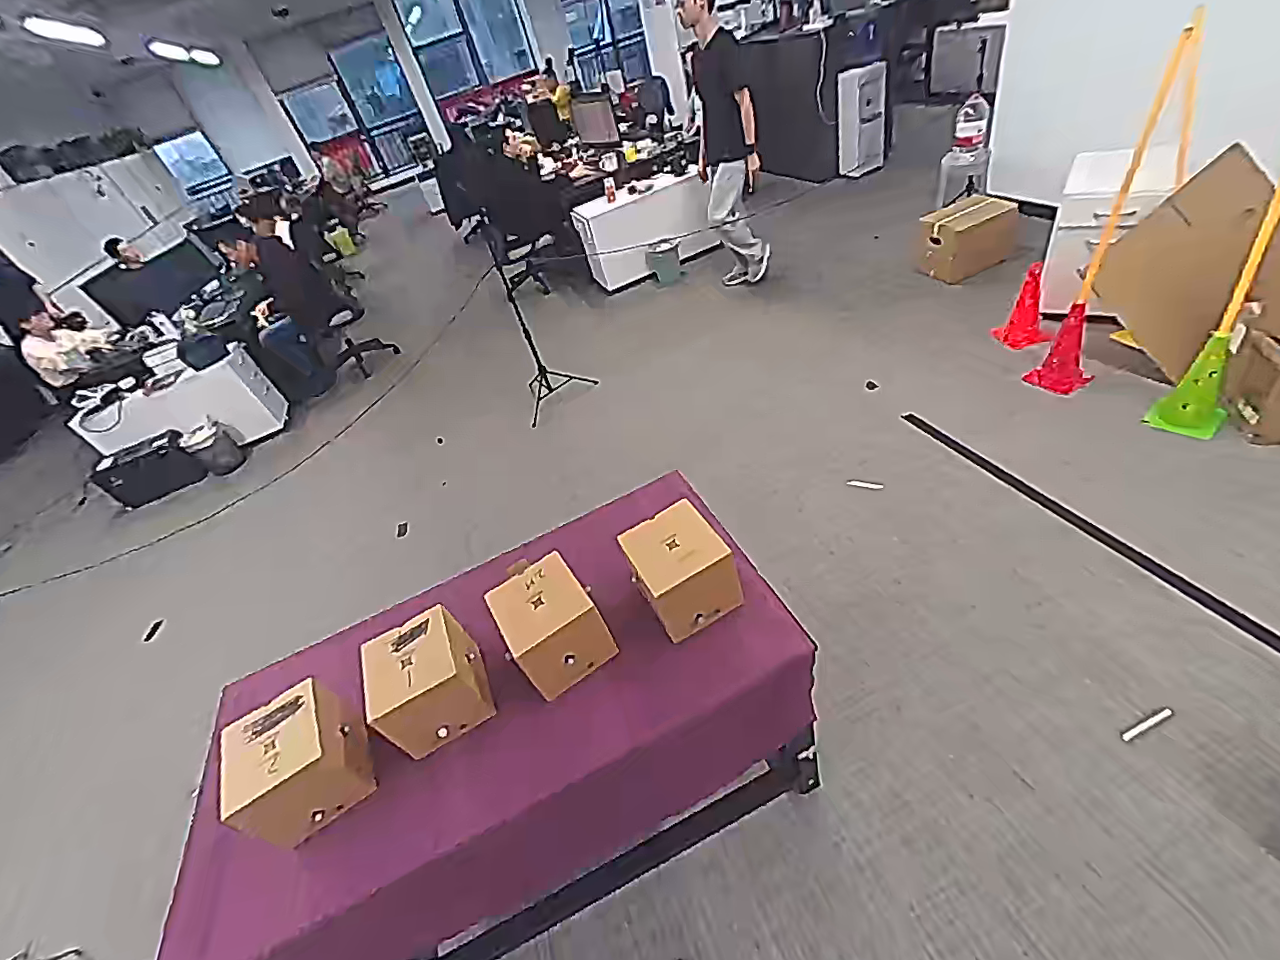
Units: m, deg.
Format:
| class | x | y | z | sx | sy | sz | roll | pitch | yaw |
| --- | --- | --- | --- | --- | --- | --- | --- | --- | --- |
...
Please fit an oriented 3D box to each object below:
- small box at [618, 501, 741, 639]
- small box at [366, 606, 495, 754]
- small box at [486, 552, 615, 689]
| class | x | y | z | sx | sy | sz | roll | pitch | yaw |
| --- | --- | --- | --- | --- | --- | --- | --- | --- | --- |
| small box | 0.080 | 0.180 | 1.082 | 0.168 | 0.176 | 0.179 | -29 | 41 | -9 |
| small box | -0.402 | 0.386 | 1.043 | 0.168 | 0.176 | 0.179 | -28 | 42 | -10 |
| small box | -0.171 | 0.283 | 1.065 | 0.168 | 0.176 | 0.179 | -31 | 42 | -14 |
